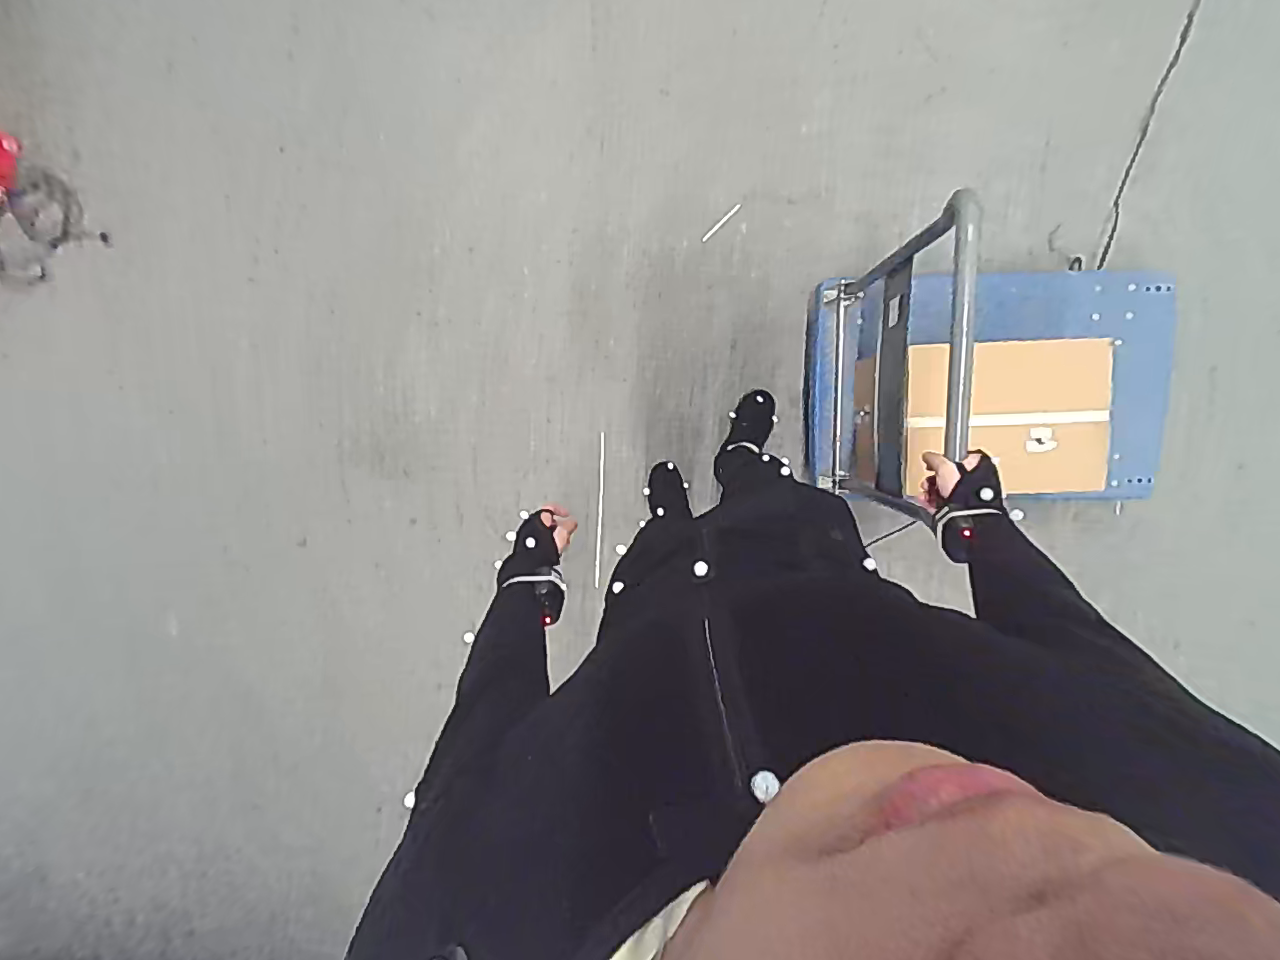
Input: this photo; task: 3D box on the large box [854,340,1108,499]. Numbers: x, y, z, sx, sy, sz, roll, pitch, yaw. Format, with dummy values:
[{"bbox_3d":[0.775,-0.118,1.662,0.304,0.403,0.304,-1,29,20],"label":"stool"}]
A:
[{"bbox_3d":[0.753,-0.134,1.256,0.408,0.320,0.320,-2,96,2],"label":"large box"}]
